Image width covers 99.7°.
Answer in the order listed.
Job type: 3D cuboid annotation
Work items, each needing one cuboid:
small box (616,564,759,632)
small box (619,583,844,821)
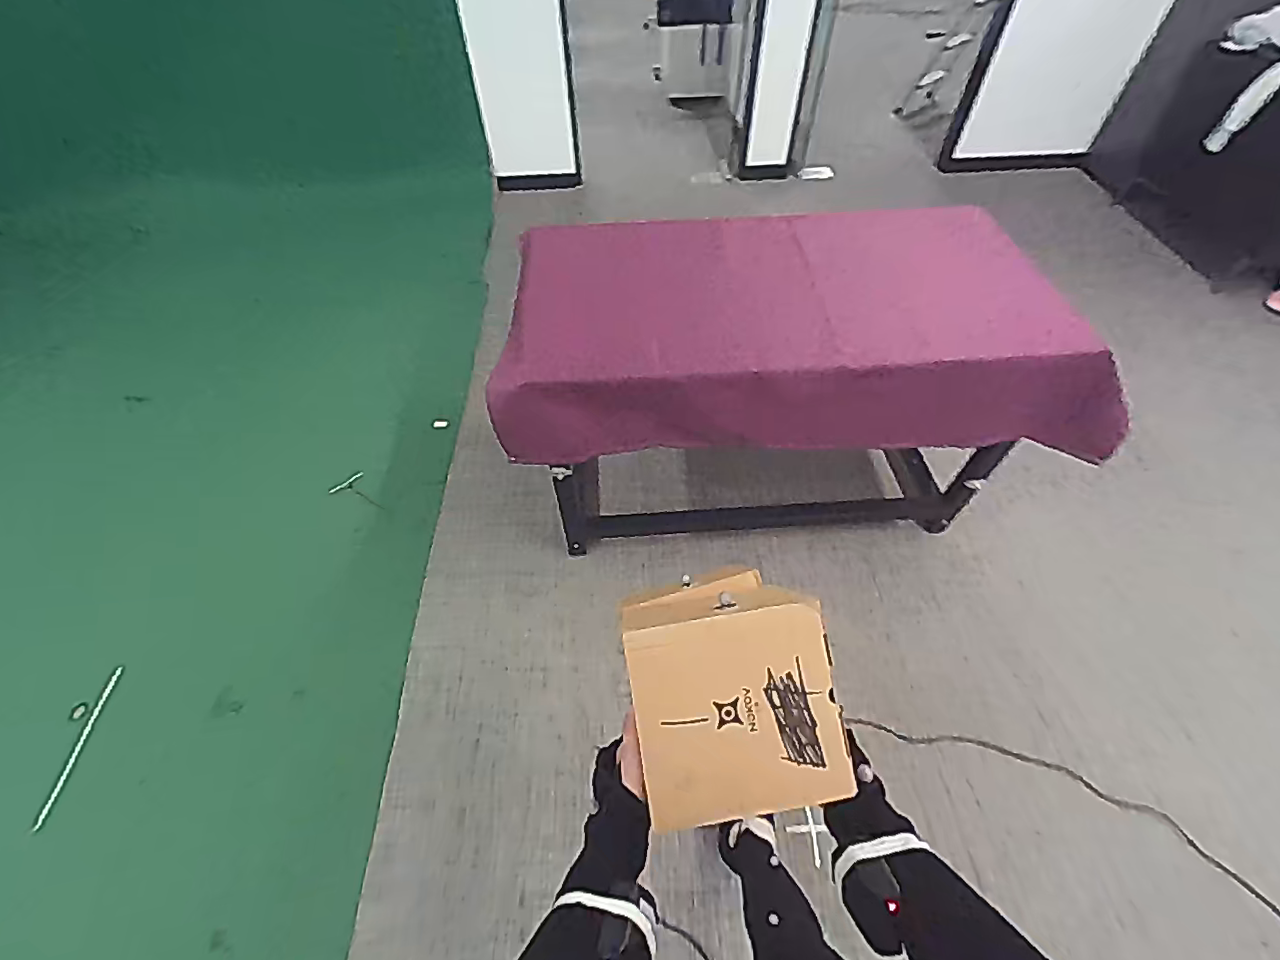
[{"bbox_3d":[0.069,0.211,0.709,0.179,0.176,0.168,-15,83,-3],"label":"small box"},{"bbox_3d":[0.076,0.203,0.544,0.179,0.176,0.168,-9,83,-2],"label":"small box"}]
